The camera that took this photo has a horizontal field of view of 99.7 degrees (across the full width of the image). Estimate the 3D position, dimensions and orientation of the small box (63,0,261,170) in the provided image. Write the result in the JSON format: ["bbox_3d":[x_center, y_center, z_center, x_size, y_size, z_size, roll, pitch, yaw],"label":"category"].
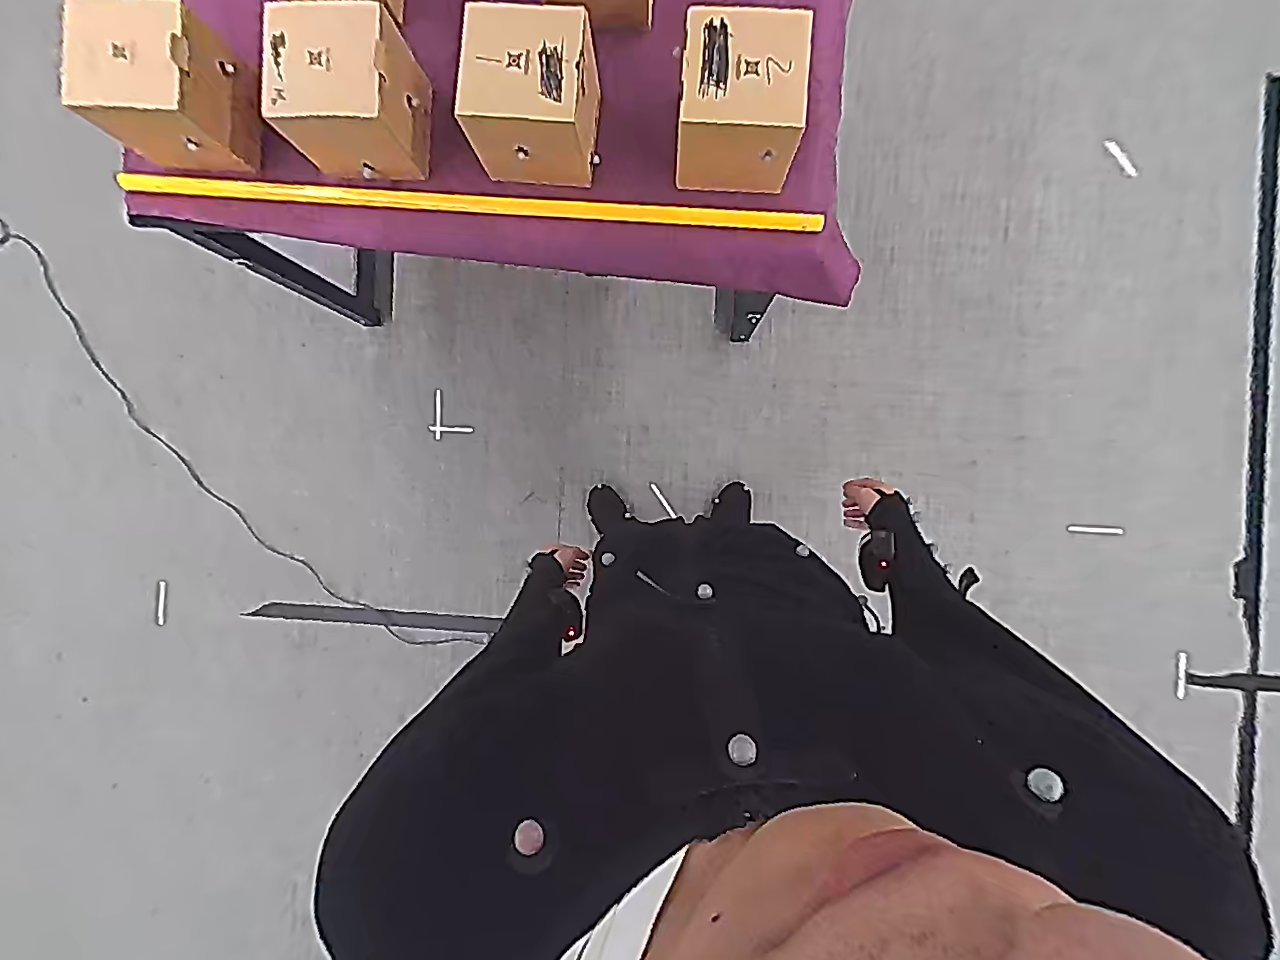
[{"bbox_3d":[-0.745,-0.622,0.861,0.179,0.176,0.168,3,90,0],"label":"small box"}]

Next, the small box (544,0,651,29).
[{"bbox_3d":[-0.066,-0.842,0.833,0.179,0.176,0.168,4,92,3],"label":"small box"}]

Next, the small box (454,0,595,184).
[{"bbox_3d":[-0.167,-0.586,0.839,0.179,0.176,0.168,5,89,2],"label":"small box"}]

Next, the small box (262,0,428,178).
[{"bbox_3d":[-0.451,-0.601,0.852,0.179,0.176,0.168,2,91,1],"label":"small box"}]
